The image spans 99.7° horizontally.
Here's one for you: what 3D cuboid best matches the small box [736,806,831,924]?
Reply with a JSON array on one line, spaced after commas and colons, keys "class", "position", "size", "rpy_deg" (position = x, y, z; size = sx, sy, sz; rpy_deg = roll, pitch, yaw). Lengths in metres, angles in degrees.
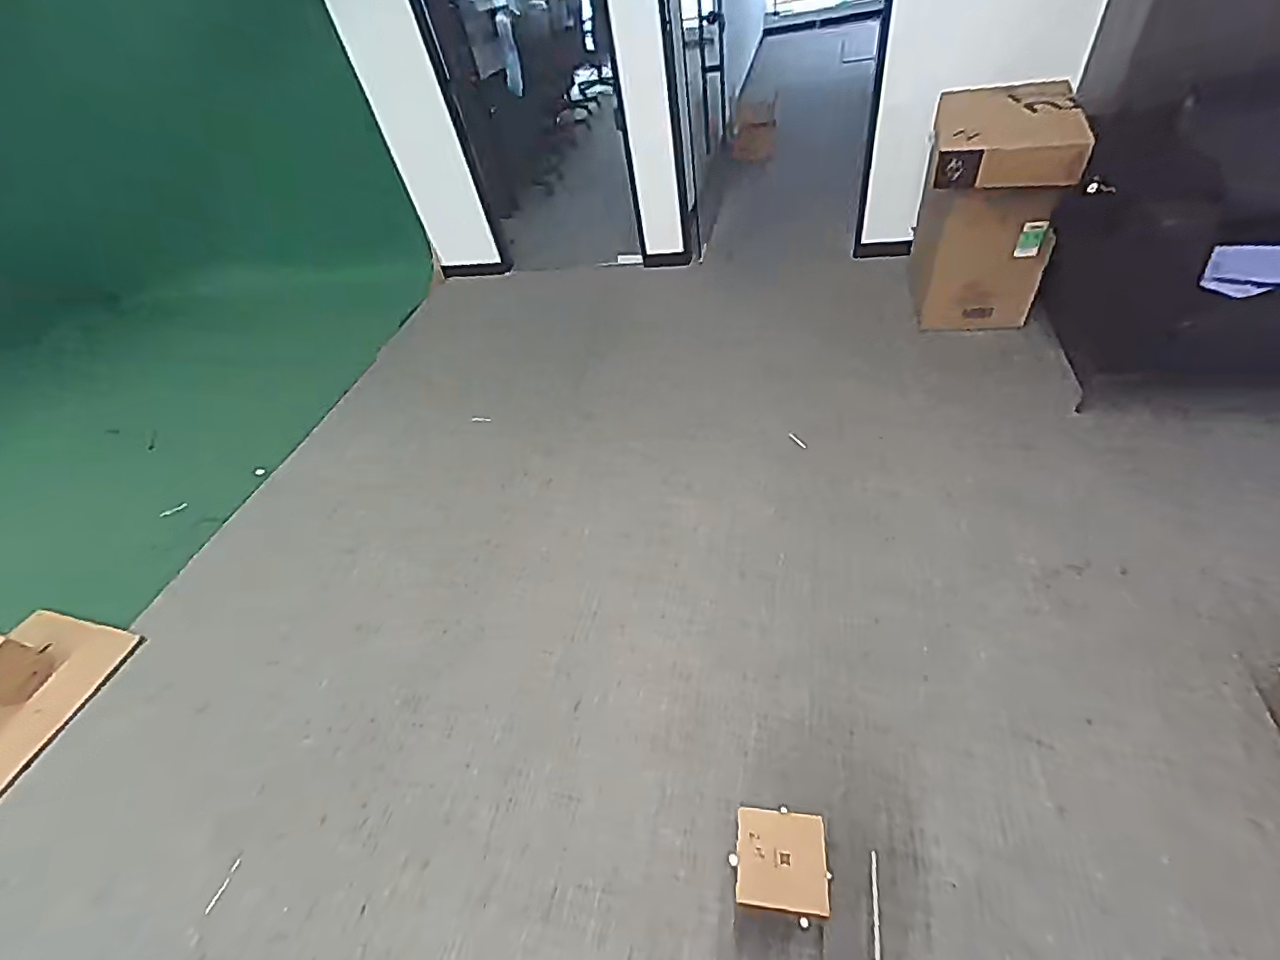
[{"class": "small box", "position": [0.294, 0.805, 1.128], "size": [0.179, 0.176, 0.168], "rpy_deg": [0, 46, 13]}]
